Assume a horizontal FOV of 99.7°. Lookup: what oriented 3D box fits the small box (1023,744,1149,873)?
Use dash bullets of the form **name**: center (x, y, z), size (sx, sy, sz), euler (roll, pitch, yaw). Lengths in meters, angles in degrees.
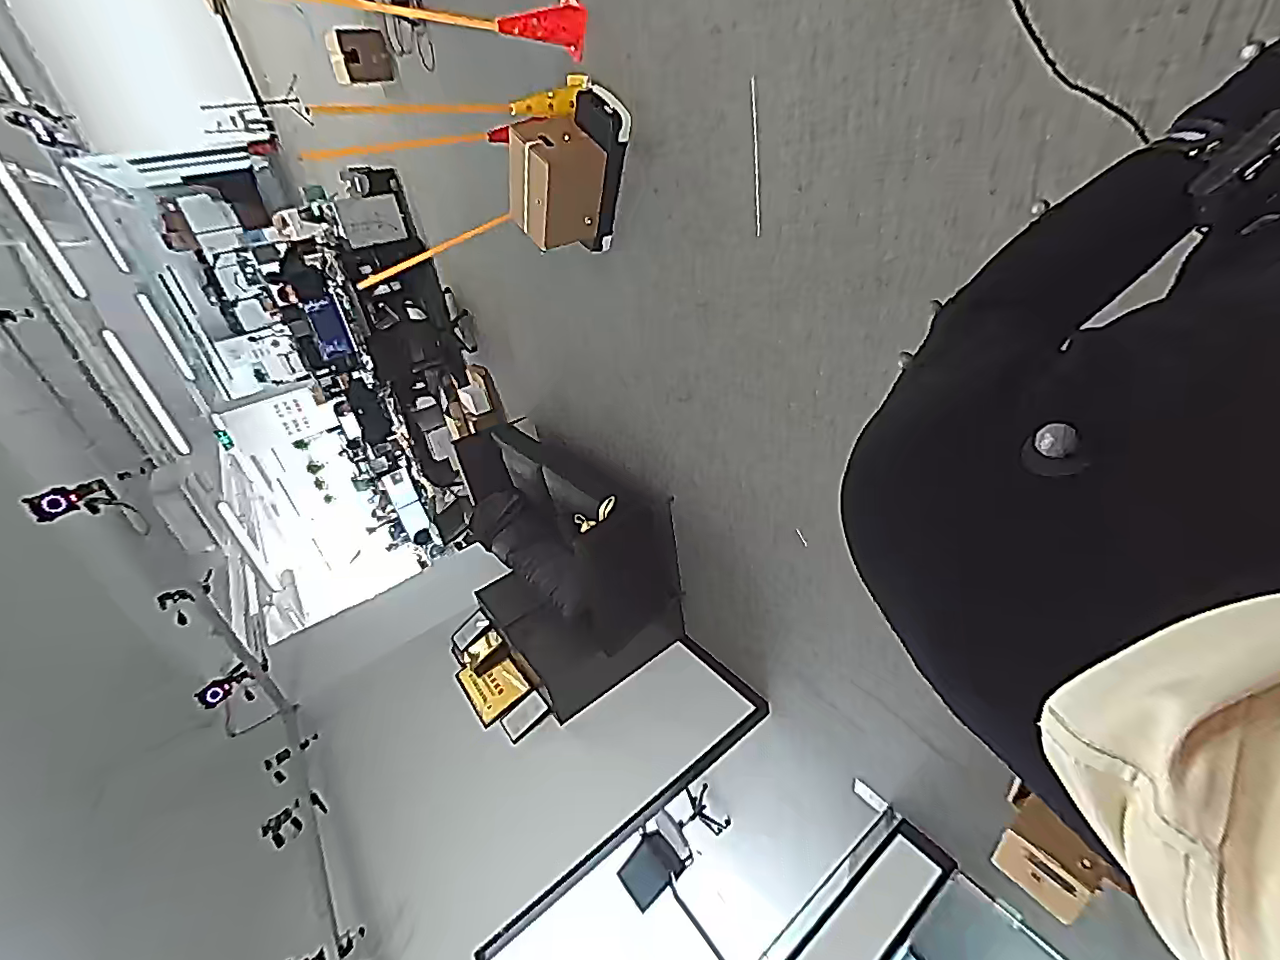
- **small box**: center (1.083, 0.793, 1.316), size (0.168, 0.176, 0.179), euler (34, 140, 46)
